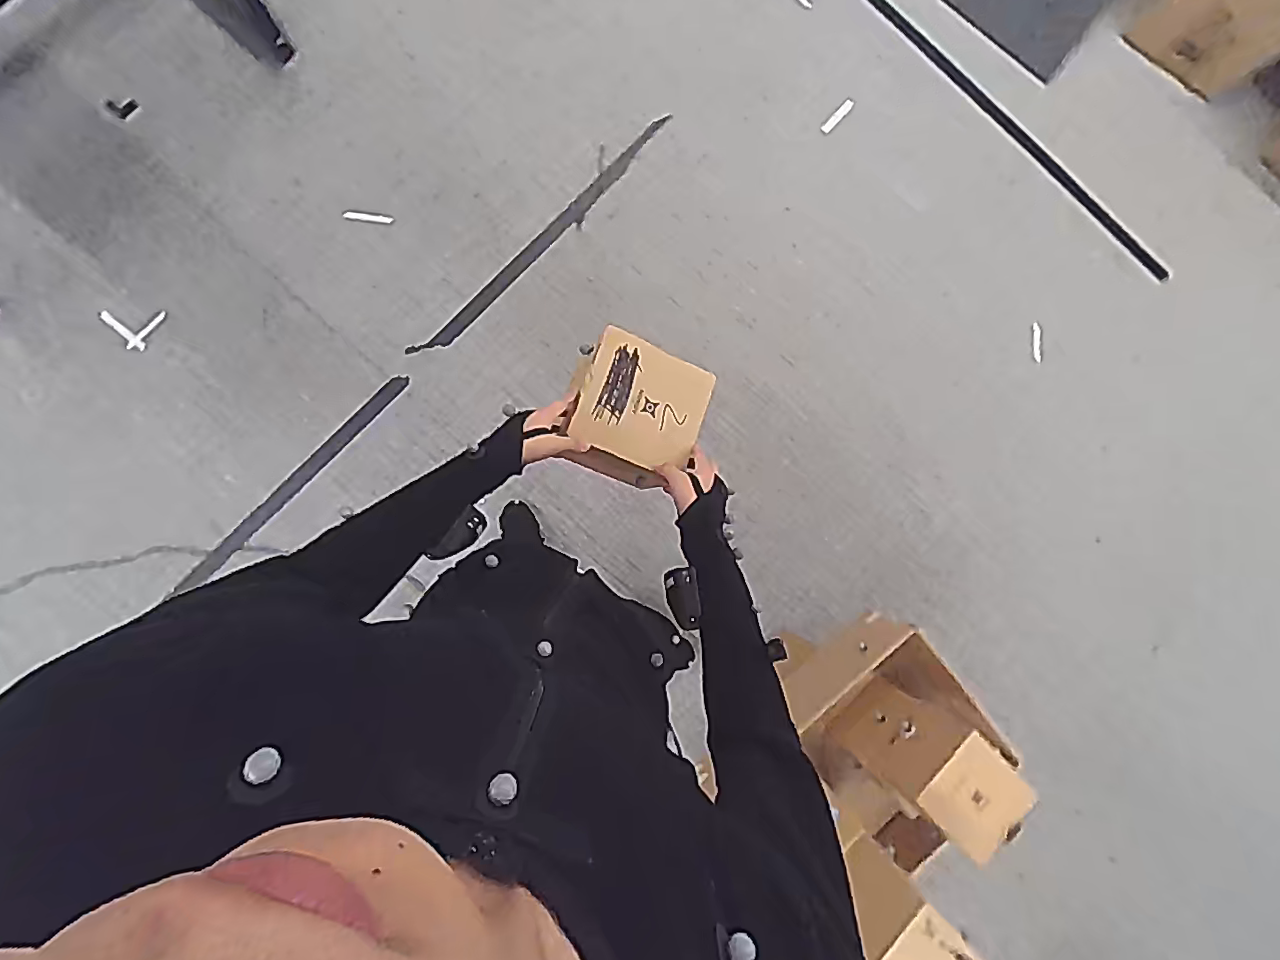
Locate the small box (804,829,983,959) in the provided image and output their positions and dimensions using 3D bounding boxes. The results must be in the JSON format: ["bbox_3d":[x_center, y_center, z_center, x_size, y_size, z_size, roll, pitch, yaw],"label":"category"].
[{"bbox_3d":[0.379,0.702,0.836,0.179,0.176,0.168,-43,94,-6],"label":"small box"}]

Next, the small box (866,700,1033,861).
[{"bbox_3d":[0.577,0.555,1.028,0.168,0.176,0.179,-44,93,-8],"label":"small box"}]

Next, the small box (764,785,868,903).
[{"bbox_3d":[0.360,0.705,0.999,0.168,0.176,0.179,-41,93,-7],"label":"small box"}]
